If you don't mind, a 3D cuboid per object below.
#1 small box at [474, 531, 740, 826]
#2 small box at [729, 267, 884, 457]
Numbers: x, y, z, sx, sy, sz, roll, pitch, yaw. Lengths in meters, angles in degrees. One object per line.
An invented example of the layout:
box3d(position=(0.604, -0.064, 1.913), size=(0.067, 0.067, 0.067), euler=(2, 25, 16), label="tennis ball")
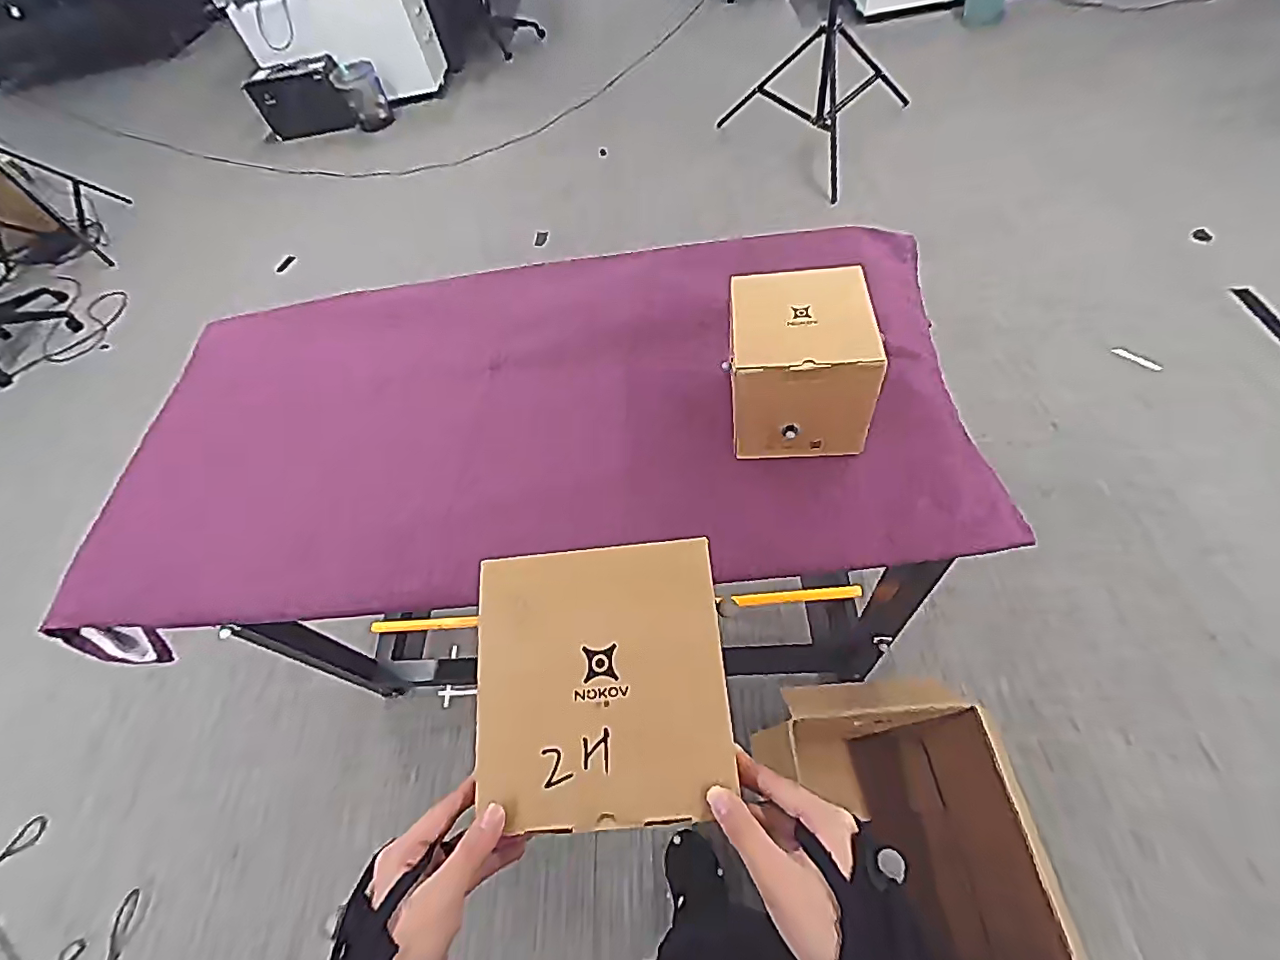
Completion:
box3d(position=(-0.019, 0.154, 0.431), size=(0.168, 0.176, 0.179), euler=(-7, 68, 4), label="small box")
box3d(position=(0.202, -0.150, 0.712), size=(0.168, 0.176, 0.179), euler=(-3, 55, 9), label="small box")
